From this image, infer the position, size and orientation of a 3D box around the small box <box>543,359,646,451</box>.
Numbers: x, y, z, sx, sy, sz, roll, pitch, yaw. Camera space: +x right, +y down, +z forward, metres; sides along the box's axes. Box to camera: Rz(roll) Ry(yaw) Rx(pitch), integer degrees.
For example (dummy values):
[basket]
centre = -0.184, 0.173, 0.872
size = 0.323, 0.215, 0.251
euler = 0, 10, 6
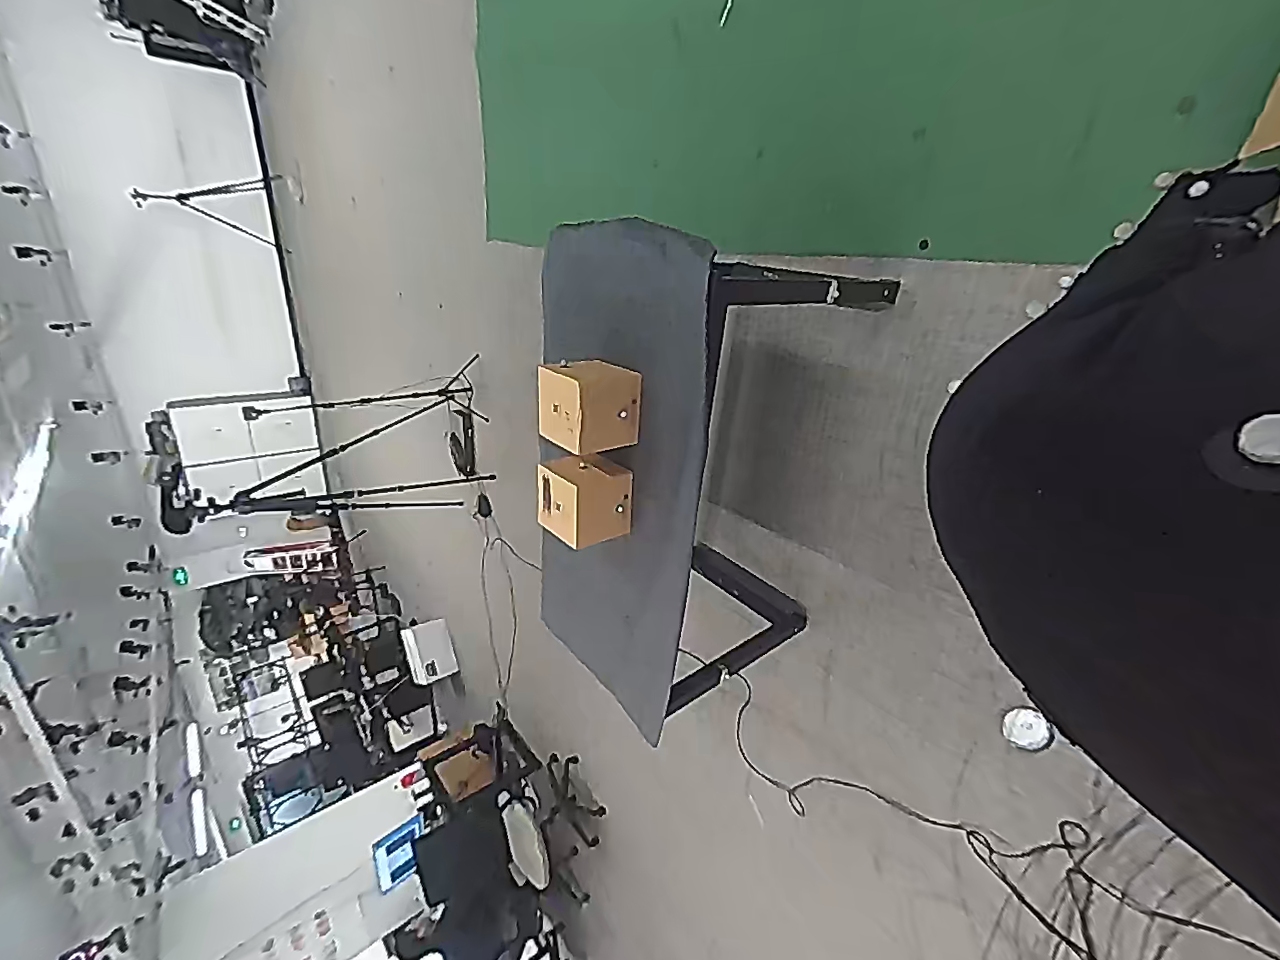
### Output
[small box]
centre = -0.109, -0.180, 1.243
size = 0.179, 0.176, 0.168
euler = 28, 123, 44
